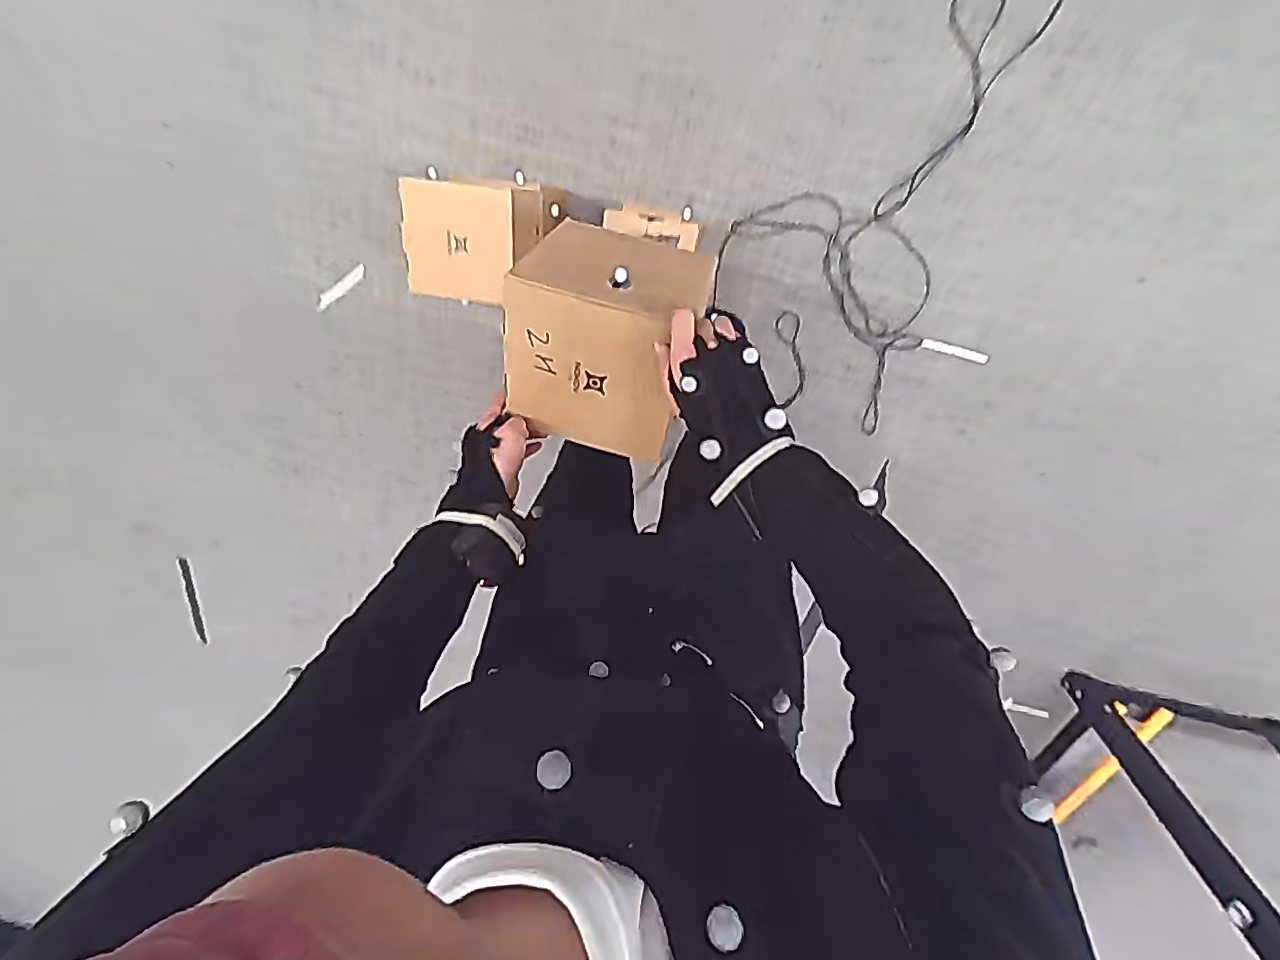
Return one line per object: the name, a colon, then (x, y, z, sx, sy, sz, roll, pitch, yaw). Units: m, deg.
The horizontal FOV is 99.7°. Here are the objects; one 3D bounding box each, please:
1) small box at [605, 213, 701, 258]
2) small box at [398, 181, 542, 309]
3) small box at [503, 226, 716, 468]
small box: (0.019, -0.398, 1.023, 0.168, 0.176, 0.179, 12, 118, 3)
small box: (-0.265, -0.388, 0.888, 0.179, 0.176, 0.168, 8, 117, 5)
small box: (-0.029, -0.145, 0.569, 0.179, 0.176, 0.168, 17, 134, 4)
